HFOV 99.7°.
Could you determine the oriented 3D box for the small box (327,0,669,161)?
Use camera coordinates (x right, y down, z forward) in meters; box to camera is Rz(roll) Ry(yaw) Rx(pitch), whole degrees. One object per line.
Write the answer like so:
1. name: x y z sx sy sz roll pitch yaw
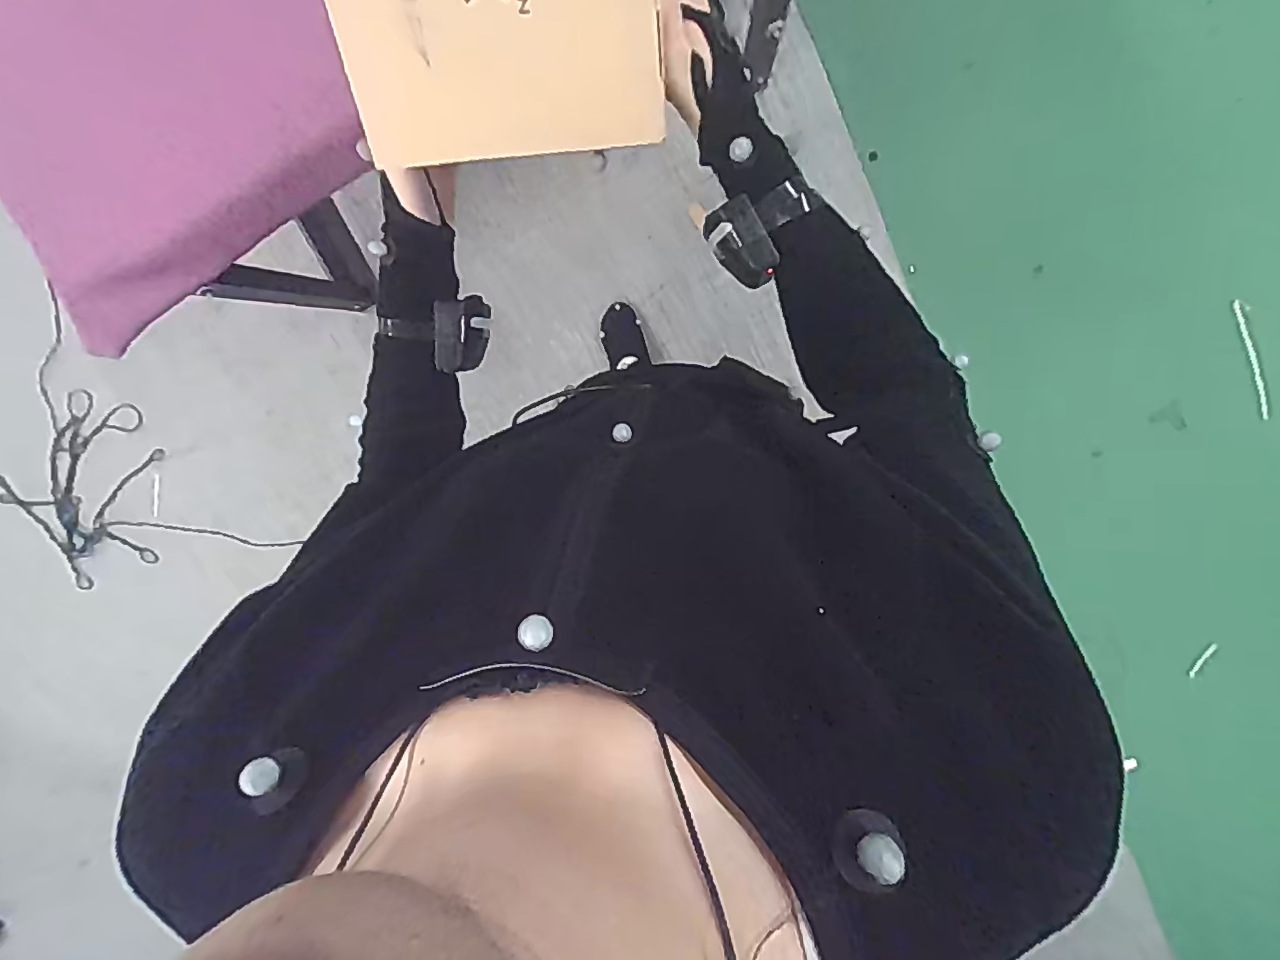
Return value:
1. small box: -0.078 -0.303 0.338 0.179 0.176 0.168 -4 122 0
